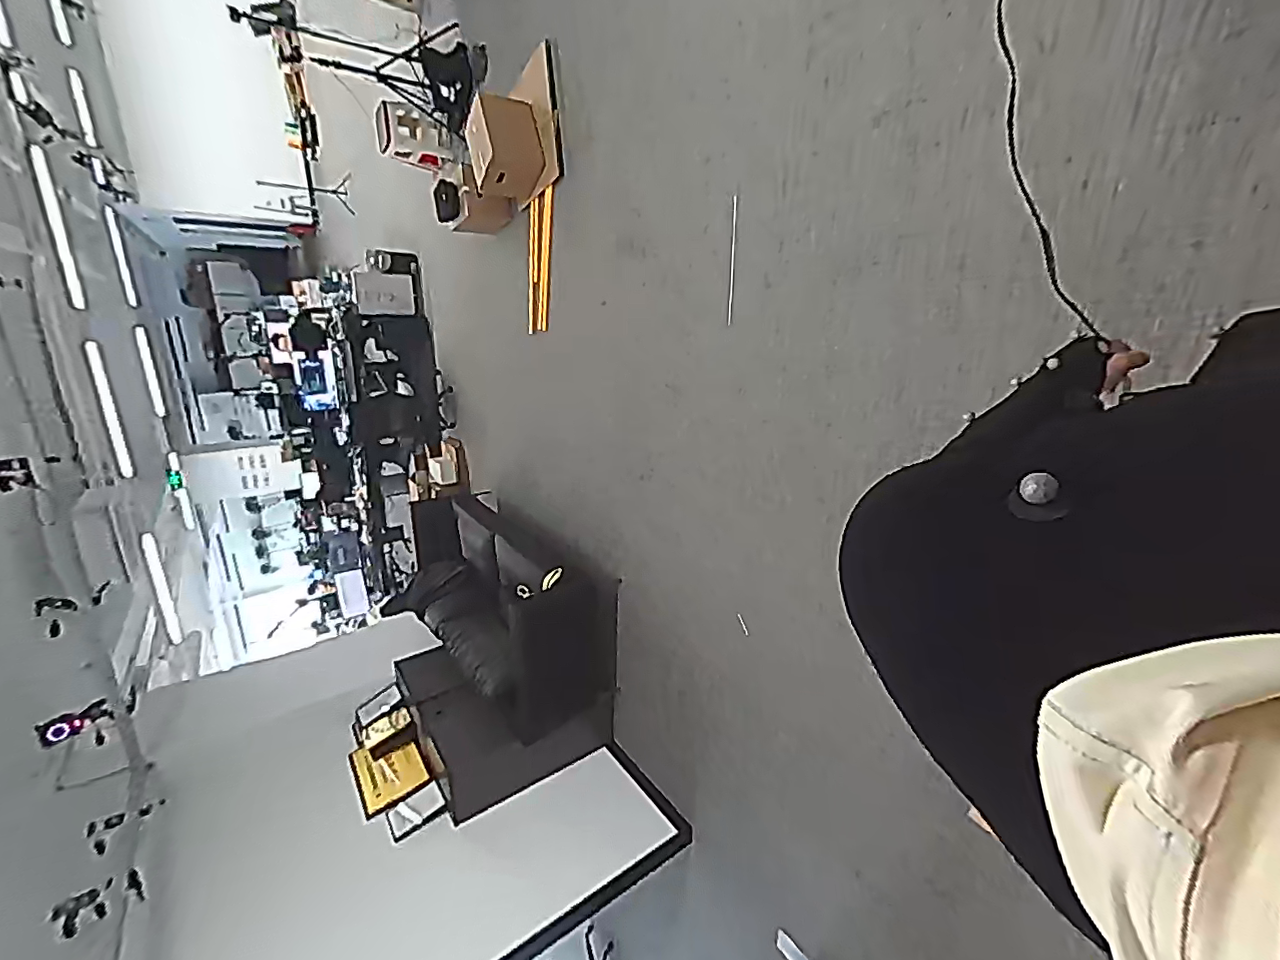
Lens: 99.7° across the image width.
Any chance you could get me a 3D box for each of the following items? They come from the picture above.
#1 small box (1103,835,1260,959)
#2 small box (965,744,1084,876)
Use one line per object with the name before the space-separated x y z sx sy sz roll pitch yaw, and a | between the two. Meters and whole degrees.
small box | 1.093 0.878 1.092 0.168 0.176 0.179 31 124 48
small box | 0.924 0.780 1.298 0.168 0.176 0.179 30 124 45
